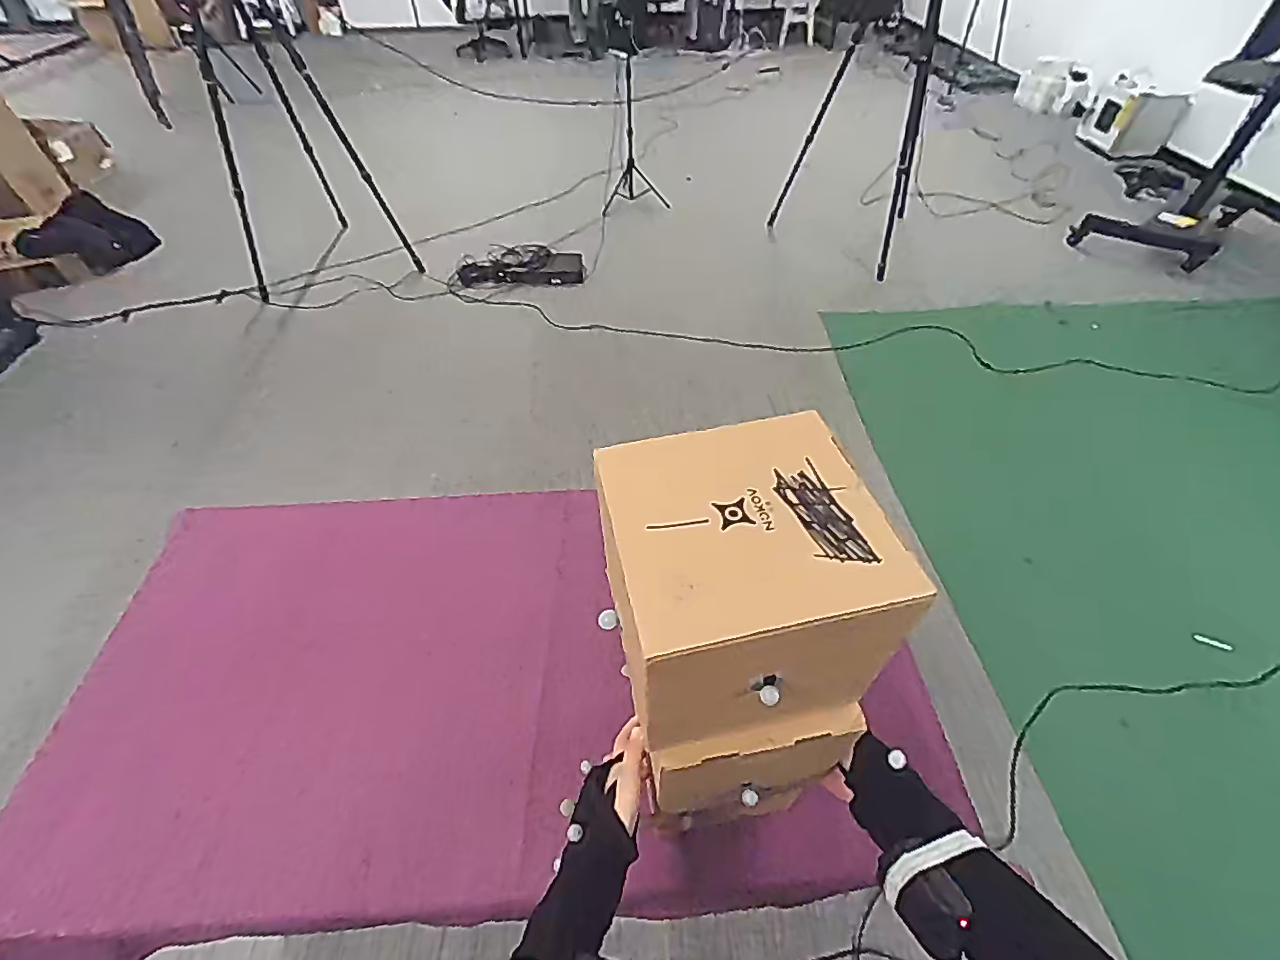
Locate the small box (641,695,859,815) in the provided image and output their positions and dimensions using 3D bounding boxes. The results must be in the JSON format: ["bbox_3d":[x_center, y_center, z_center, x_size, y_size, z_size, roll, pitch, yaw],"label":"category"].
[{"bbox_3d":[0.077,0.196,0.522,0.168,0.176,0.179,-8,49,-5],"label":"small box"}]

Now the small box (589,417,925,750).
[{"bbox_3d":[0.064,0.079,0.406,0.179,0.176,0.168,-10,48,-7],"label":"small box"}]
